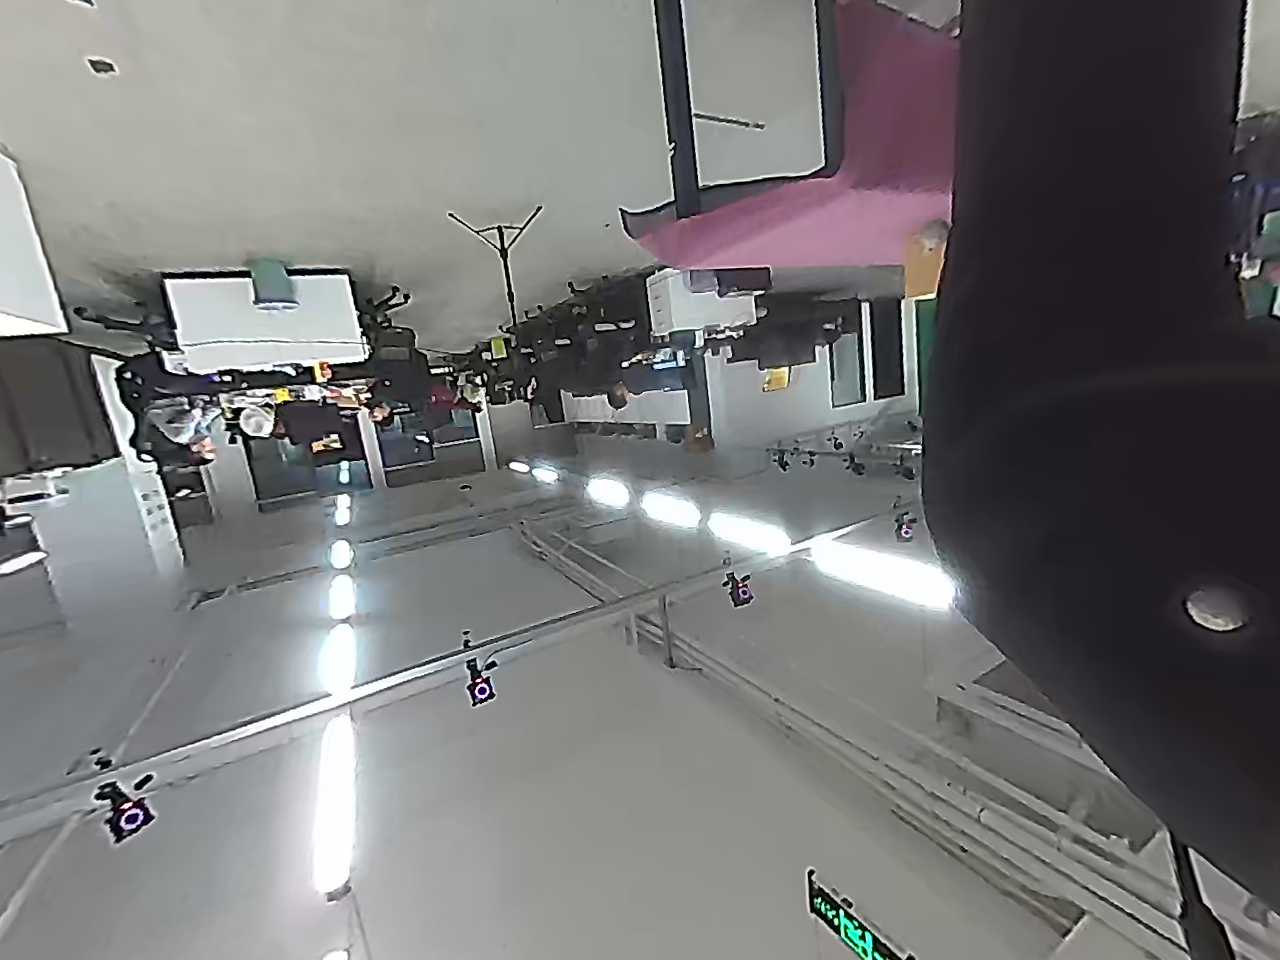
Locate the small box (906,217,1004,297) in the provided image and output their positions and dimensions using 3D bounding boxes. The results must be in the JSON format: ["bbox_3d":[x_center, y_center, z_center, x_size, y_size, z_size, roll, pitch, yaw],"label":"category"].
[{"bbox_3d":[0.849,-0.601,1.461,0.179,0.176,0.168,-10,-170,-17],"label":"small box"}]
